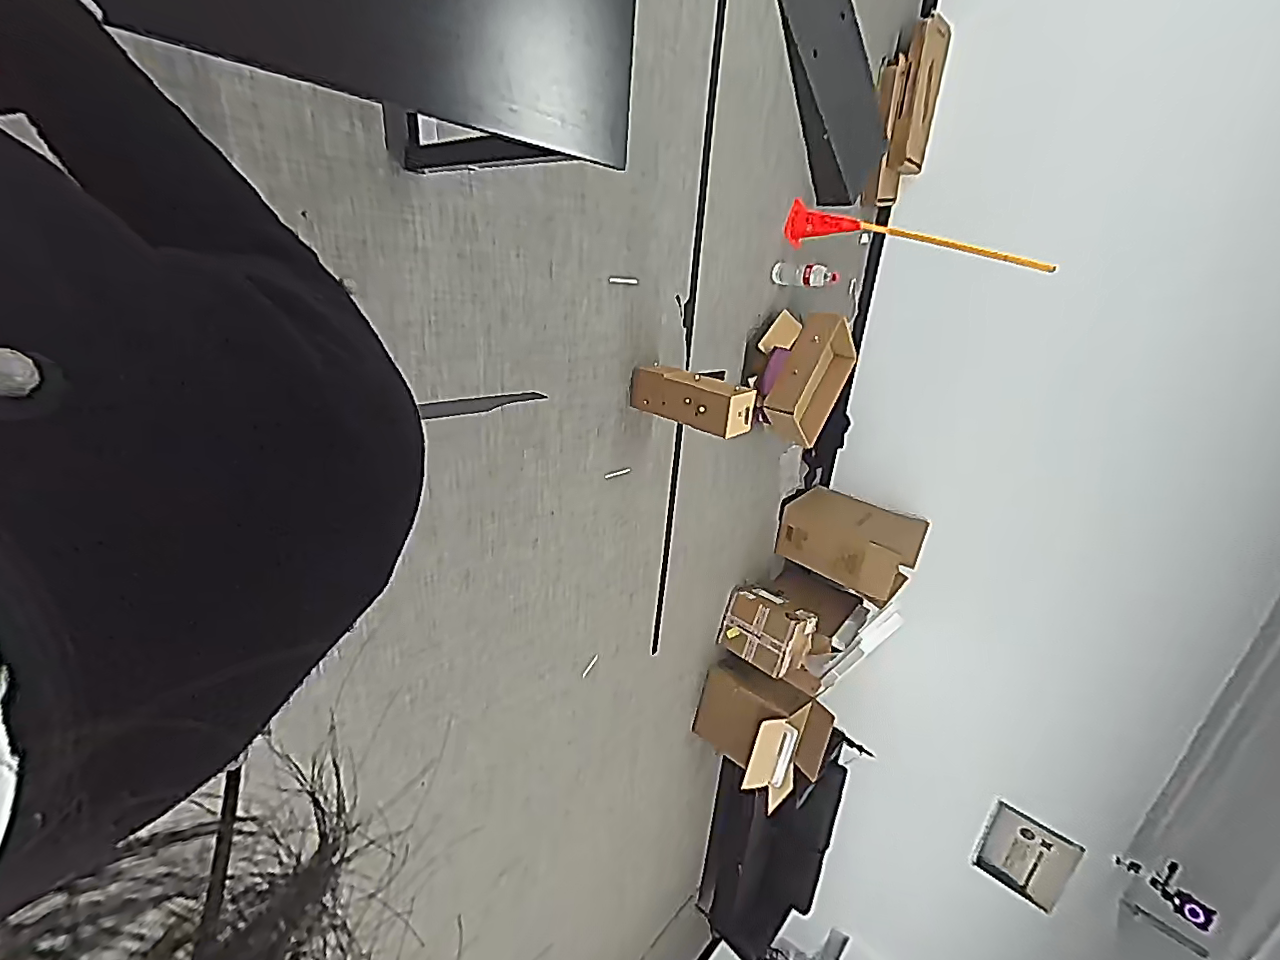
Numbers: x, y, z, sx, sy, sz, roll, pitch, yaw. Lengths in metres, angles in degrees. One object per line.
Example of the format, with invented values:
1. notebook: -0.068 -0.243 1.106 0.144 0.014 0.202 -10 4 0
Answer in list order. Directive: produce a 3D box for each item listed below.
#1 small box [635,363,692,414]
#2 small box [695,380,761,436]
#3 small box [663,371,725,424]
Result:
1. small box: 0.096 -0.388 2.273 0.168 0.176 0.179 -19 121 -45
2. small box: 0.336 -0.281 2.075 0.179 0.176 0.168 -20 123 -43
3. small box: 0.215 -0.337 2.173 0.179 0.176 0.168 -21 124 -45
